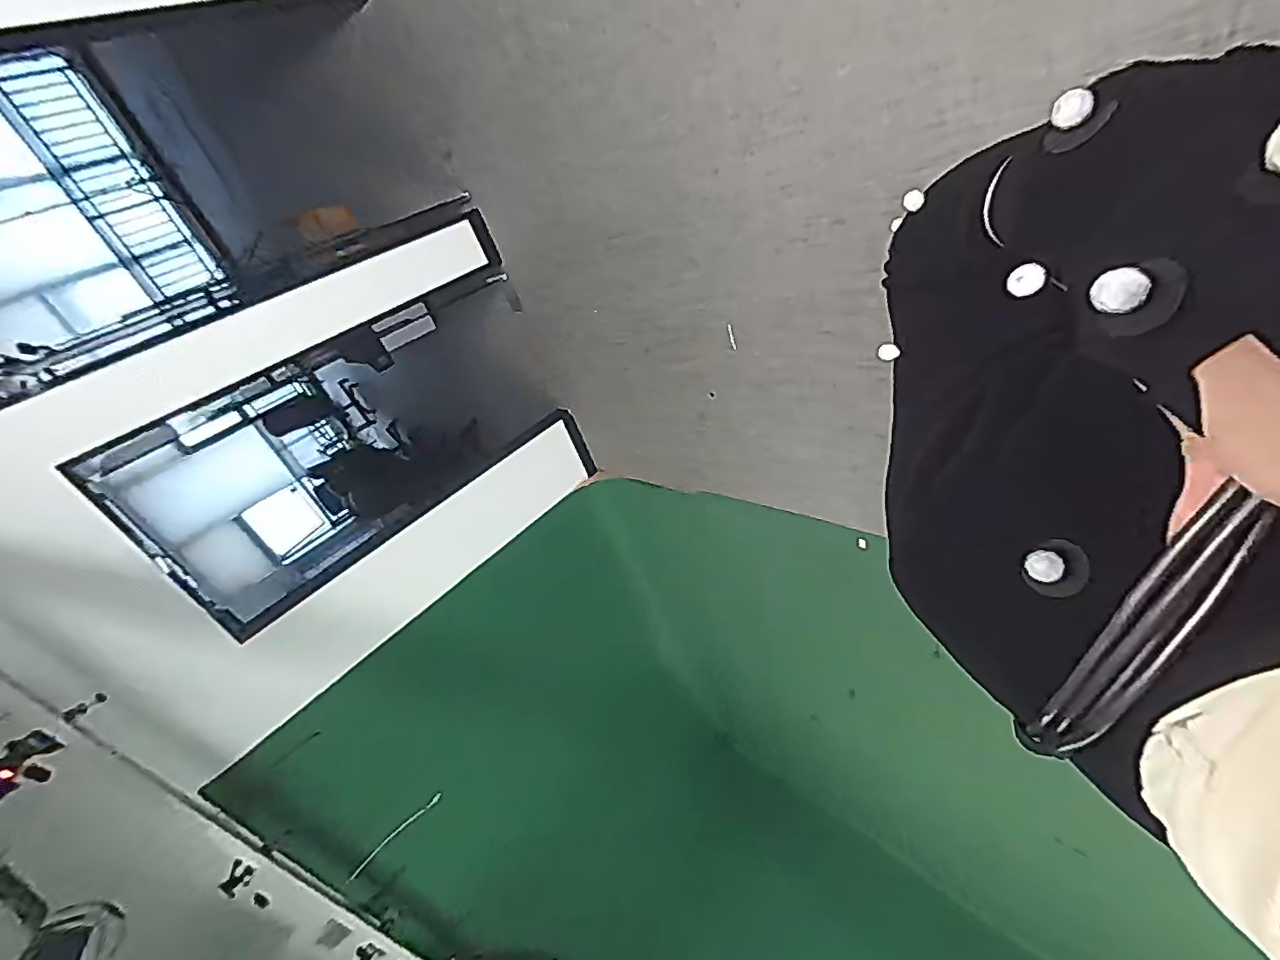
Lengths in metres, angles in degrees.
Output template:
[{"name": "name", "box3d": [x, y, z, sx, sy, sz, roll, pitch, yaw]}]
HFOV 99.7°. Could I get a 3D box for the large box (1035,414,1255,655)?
[{"name": "large box", "box3d": [1.127, 0.101, 1.209, 0.320, 0.320, 0.408, 8, 132, 49]}]
